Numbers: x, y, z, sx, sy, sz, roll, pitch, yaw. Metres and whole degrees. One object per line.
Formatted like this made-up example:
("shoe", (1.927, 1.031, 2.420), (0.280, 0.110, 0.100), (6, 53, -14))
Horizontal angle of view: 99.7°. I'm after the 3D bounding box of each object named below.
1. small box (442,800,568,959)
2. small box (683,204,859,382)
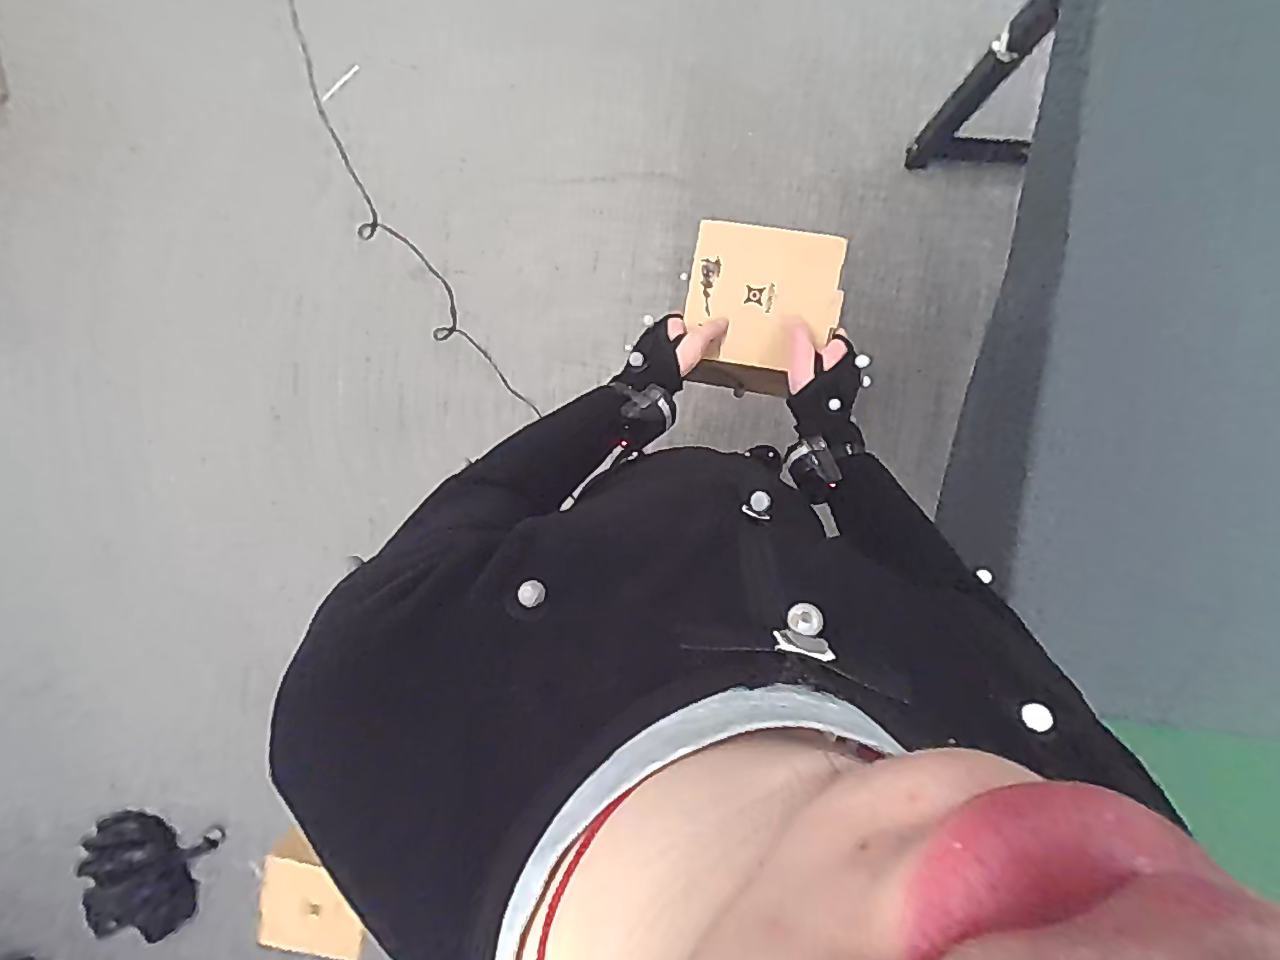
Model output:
("small box", (-0.234, 0.716, 0.979), (0.179, 0.176, 0.168), (7, 97, 4))
("small box", (0.157, -0.228, 0.705), (0.179, 0.176, 0.168), (10, 93, 3))
